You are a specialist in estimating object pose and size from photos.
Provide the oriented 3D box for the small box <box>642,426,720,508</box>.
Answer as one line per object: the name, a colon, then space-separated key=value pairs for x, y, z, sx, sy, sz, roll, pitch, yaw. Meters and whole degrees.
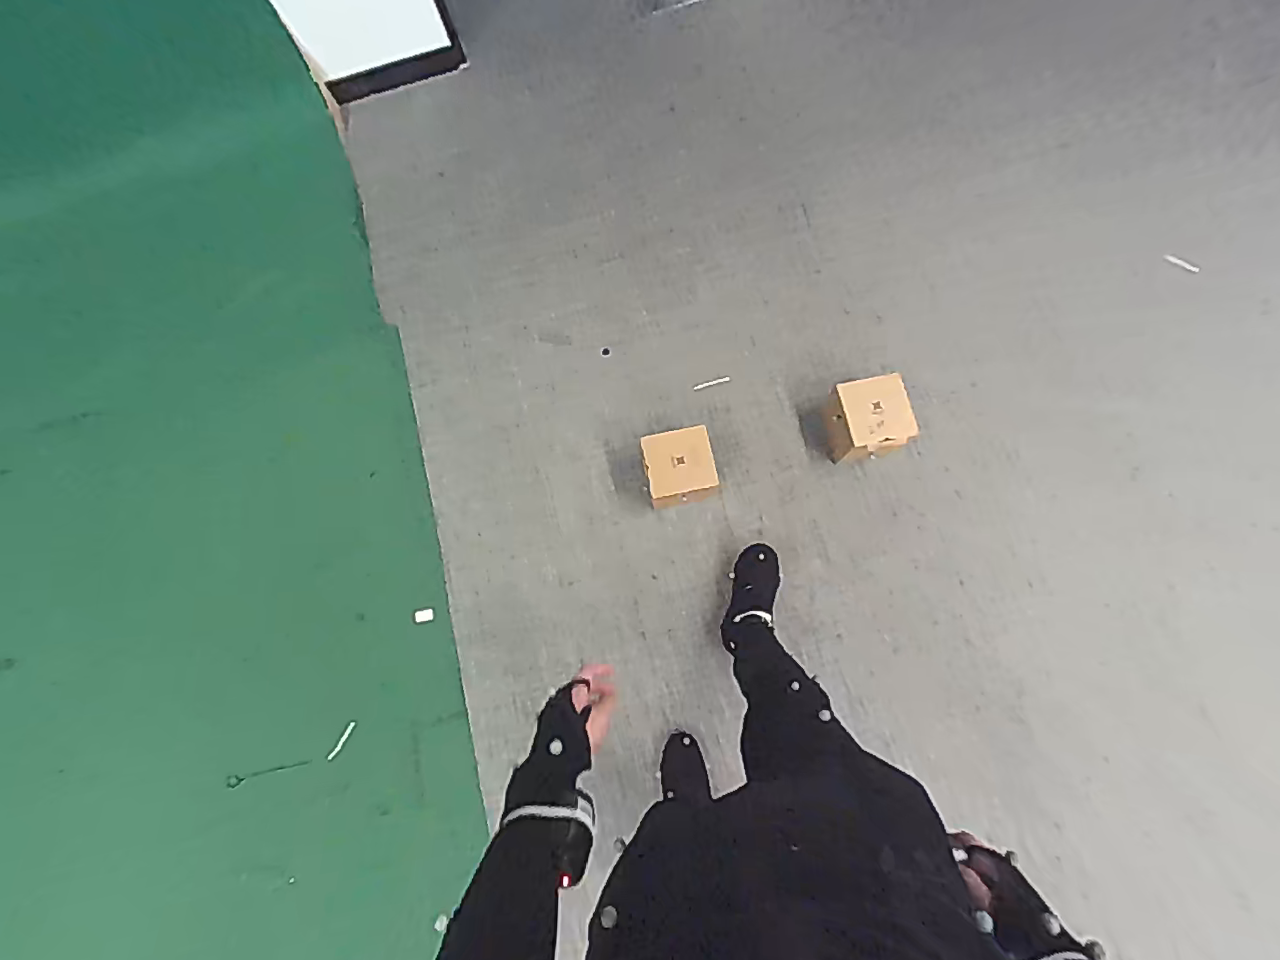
small box: x=0.109 y=-0.028 z=1.444 sx=0.179 sy=0.176 sz=0.168 roll=-11 pitch=77 yaw=1

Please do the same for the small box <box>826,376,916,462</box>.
small box: x=0.604 y=-0.157 z=1.436 sx=0.168 sy=0.176 sz=0.179 roll=-5 pitch=77 yaw=5
